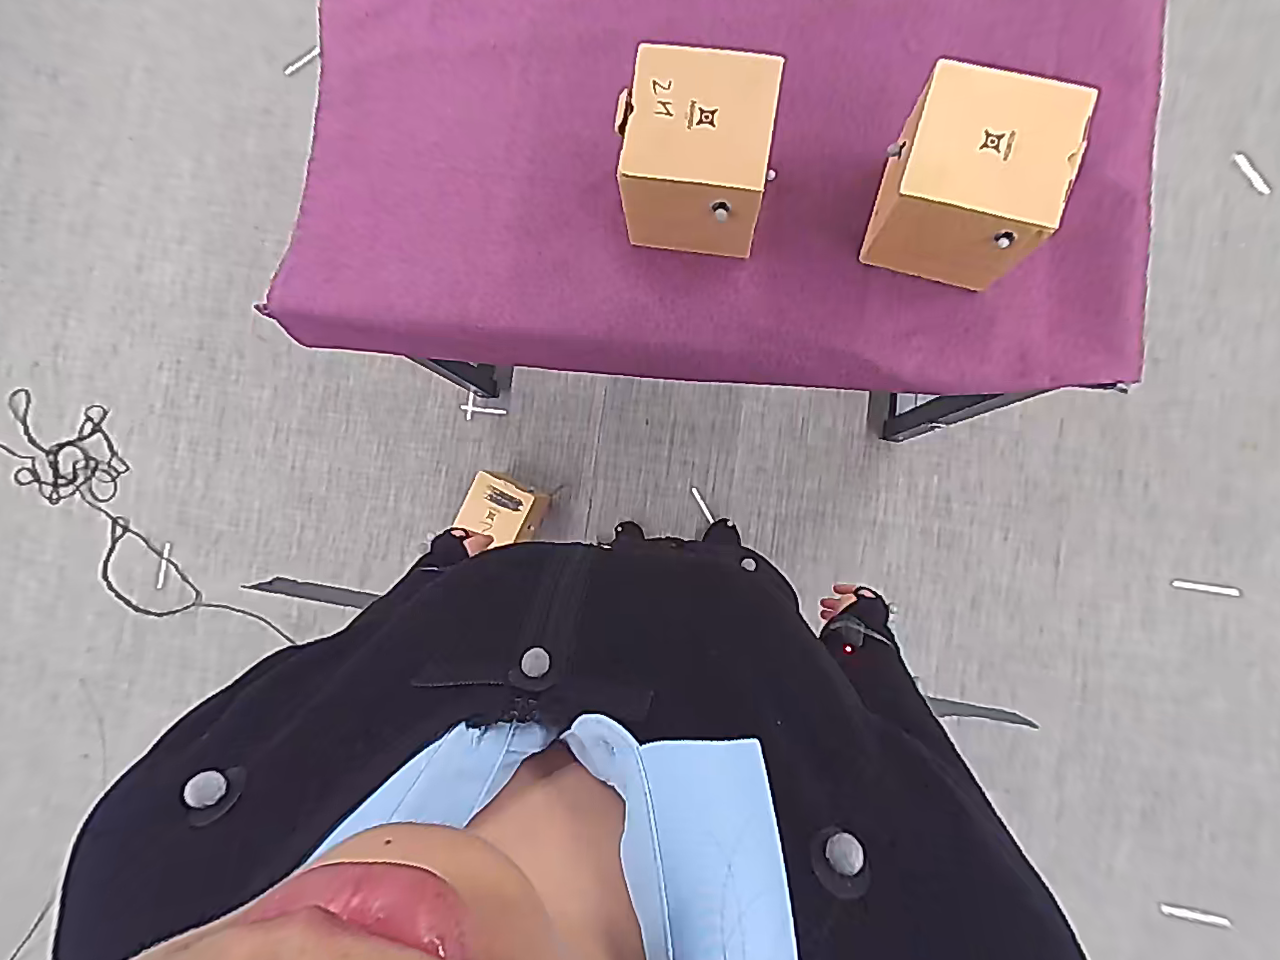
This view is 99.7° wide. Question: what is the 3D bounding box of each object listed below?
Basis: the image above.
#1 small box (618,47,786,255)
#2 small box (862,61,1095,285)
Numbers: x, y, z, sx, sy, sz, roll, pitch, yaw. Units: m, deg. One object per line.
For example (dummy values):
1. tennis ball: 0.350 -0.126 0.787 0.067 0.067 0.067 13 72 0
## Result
1. small box: 0.079 -0.418 0.715 0.179 0.176 0.168 9 87 6
2. small box: 0.404 -0.370 0.680 0.179 0.176 0.168 17 88 6
